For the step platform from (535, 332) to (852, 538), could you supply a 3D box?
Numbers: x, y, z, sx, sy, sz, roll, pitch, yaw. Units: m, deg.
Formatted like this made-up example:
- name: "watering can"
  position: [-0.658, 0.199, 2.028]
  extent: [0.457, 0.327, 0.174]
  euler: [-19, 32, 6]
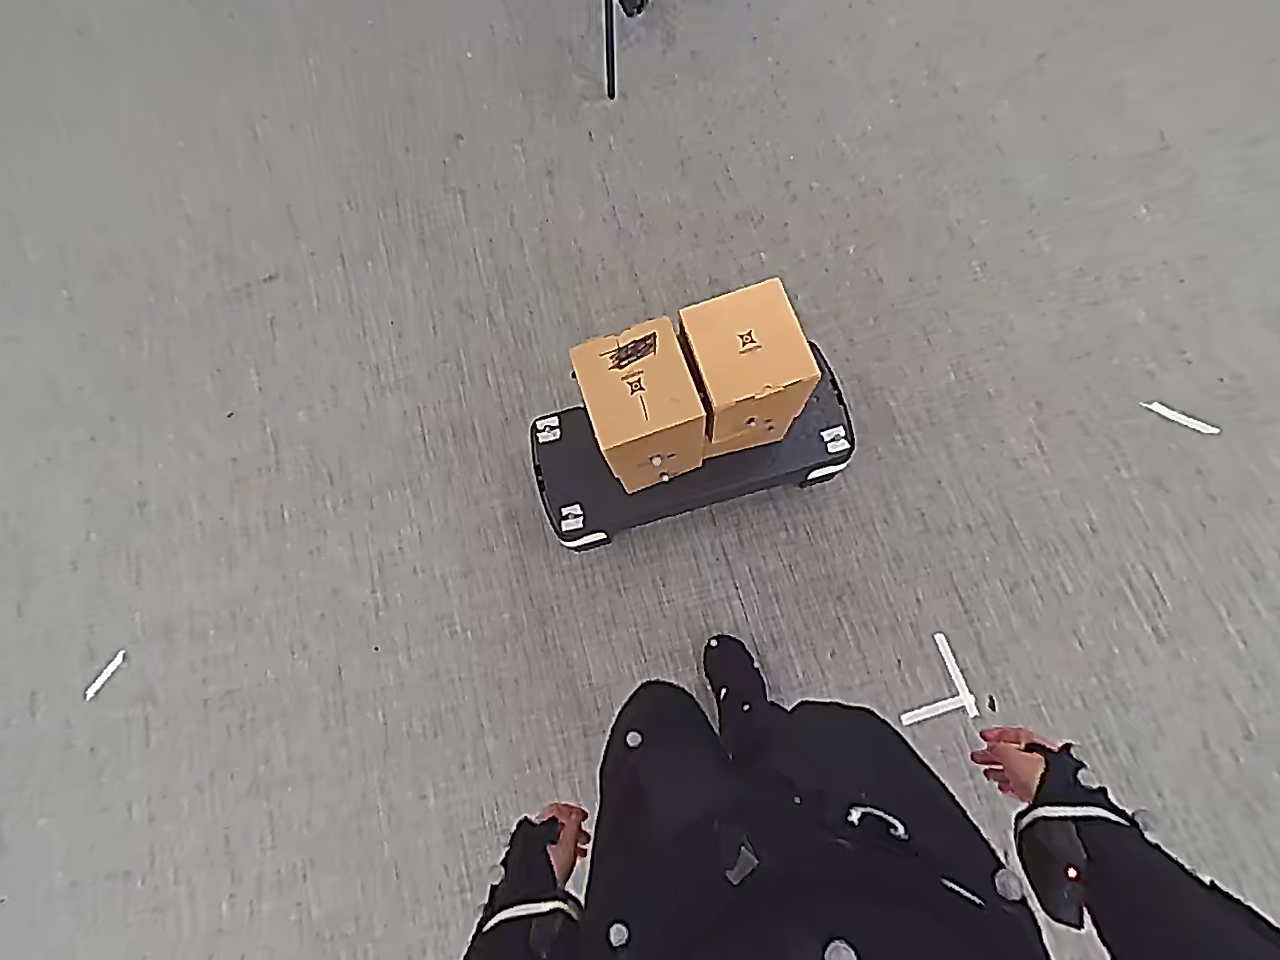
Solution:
- name: "step platform"
  position: [0.112, -0.095, 1.226]
  extent: [0.684, 0.204, 0.286]
  euler: [-17, 75, 2]
